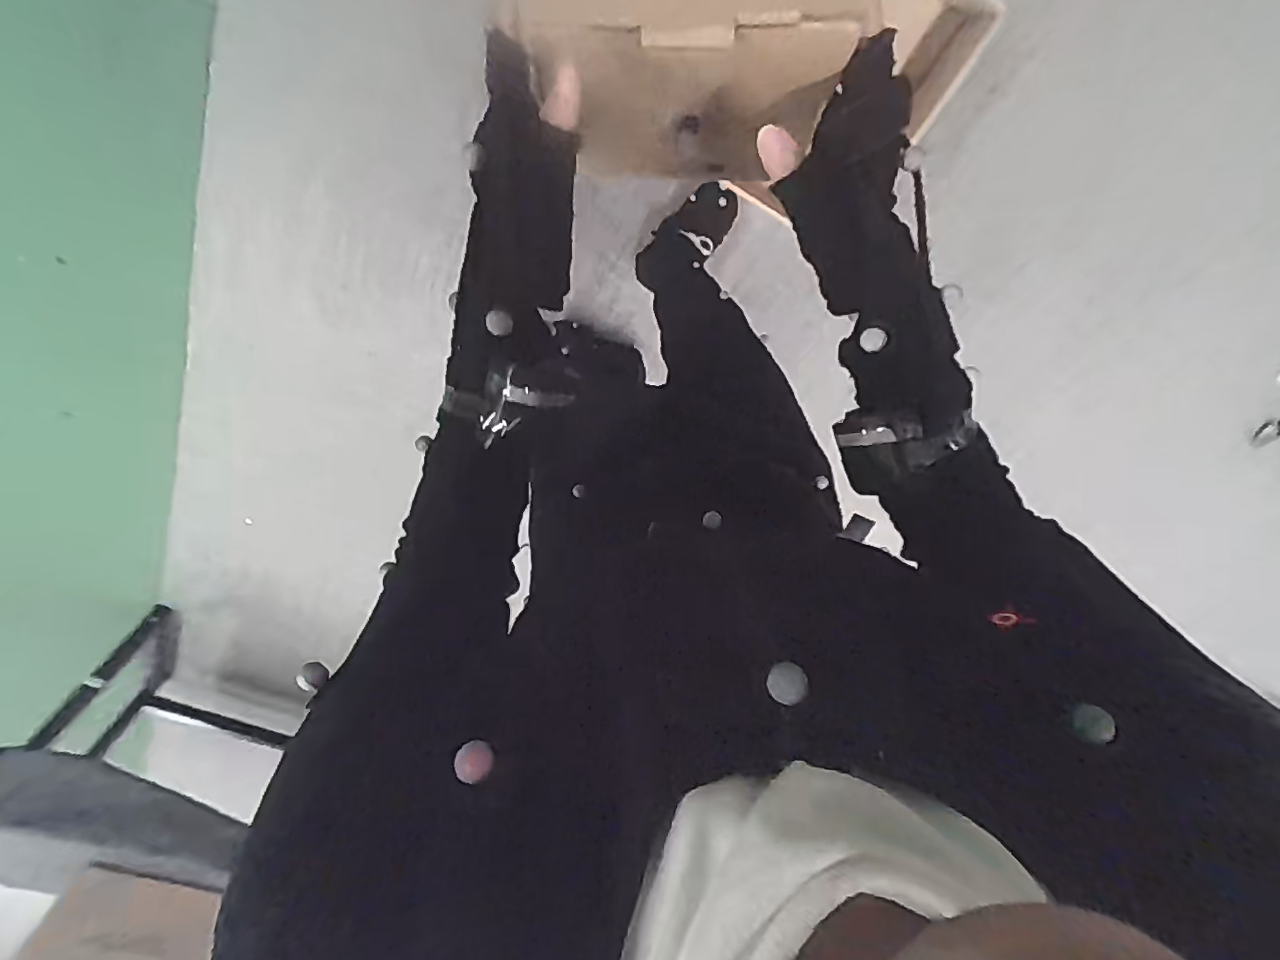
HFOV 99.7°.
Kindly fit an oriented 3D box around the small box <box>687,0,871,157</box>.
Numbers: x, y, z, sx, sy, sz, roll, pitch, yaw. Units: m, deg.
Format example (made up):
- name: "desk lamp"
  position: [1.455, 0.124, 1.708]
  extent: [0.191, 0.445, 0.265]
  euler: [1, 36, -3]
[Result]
- name: "small box"
  position: [0.181, -0.592, 0.757]
  extent: [0.179, 0.176, 0.168]
  euler: [26, 124, -14]
